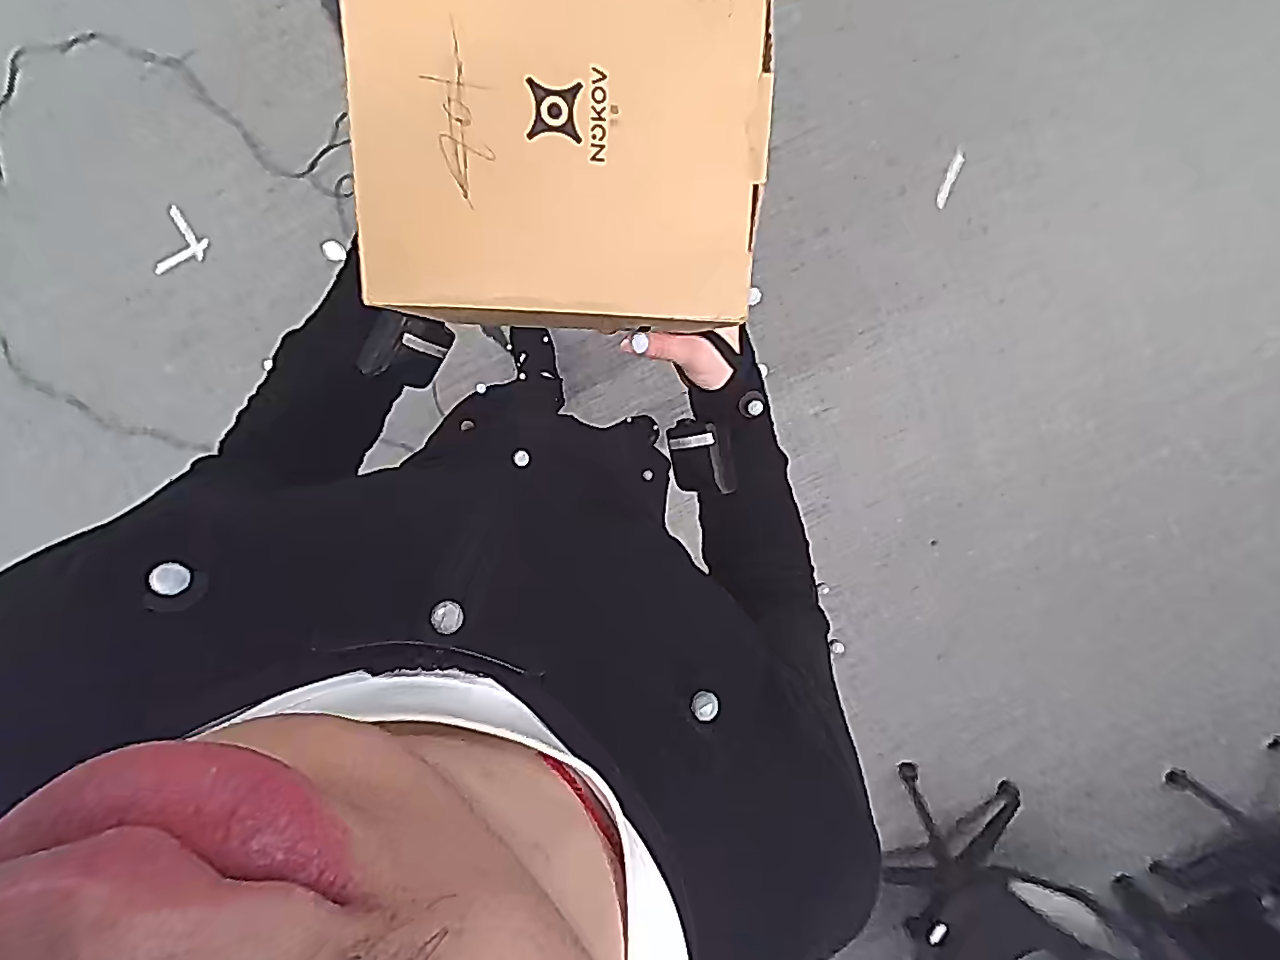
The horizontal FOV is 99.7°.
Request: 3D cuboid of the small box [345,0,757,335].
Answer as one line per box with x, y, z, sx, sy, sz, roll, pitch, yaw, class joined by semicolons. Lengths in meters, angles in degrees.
-0.044;-0.175;0.318;0.179;0.176;0.168;-1;103;-6;small box
